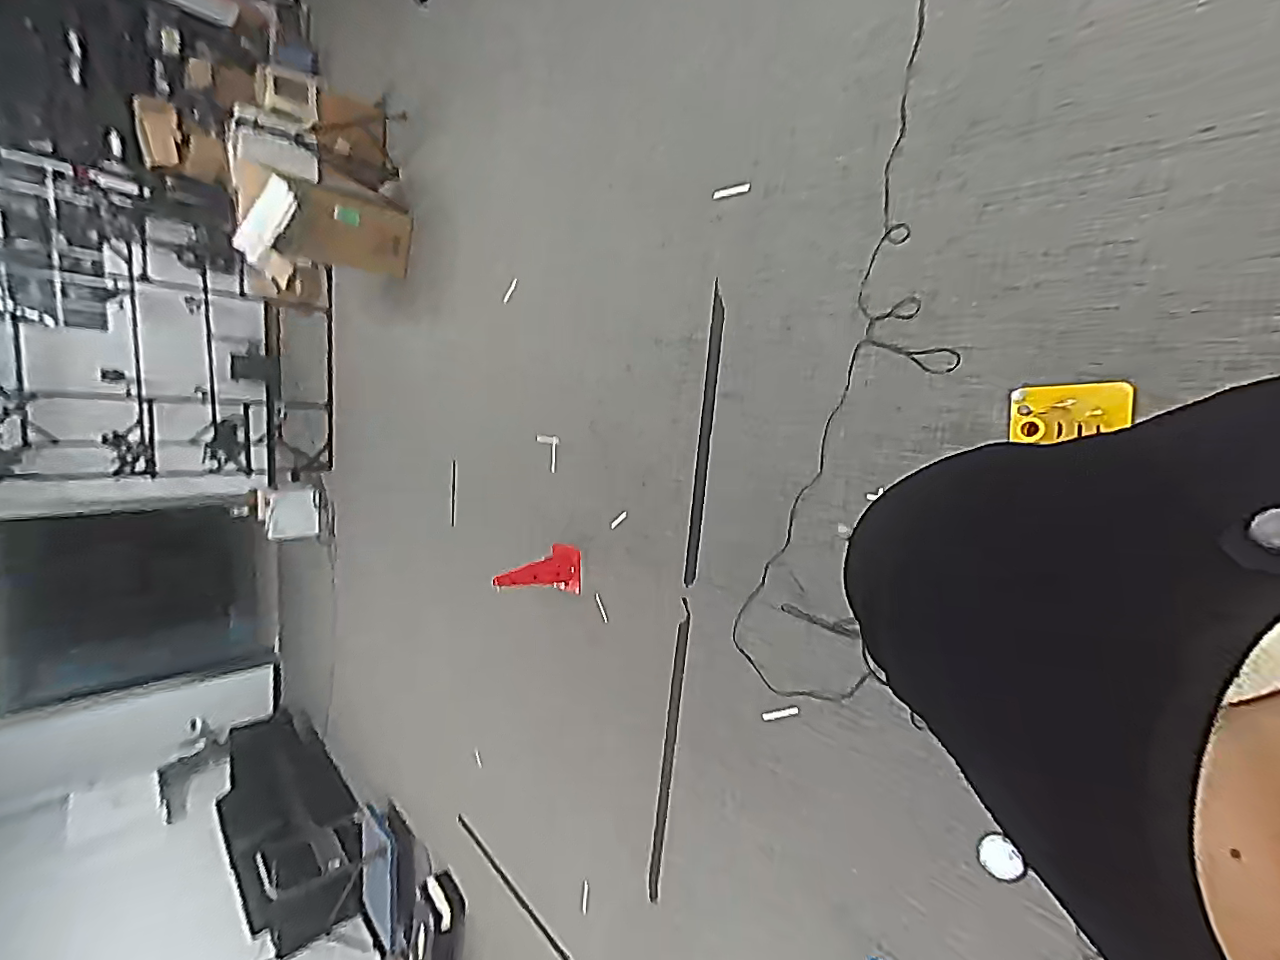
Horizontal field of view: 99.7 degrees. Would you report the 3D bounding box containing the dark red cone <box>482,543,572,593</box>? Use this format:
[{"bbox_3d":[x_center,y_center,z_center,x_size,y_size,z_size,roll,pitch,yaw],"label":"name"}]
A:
[{"bbox_3d":[-0.478,0.394,2.267,0.201,0.394,0.202,3,95,45],"label":"dark red cone"}]
